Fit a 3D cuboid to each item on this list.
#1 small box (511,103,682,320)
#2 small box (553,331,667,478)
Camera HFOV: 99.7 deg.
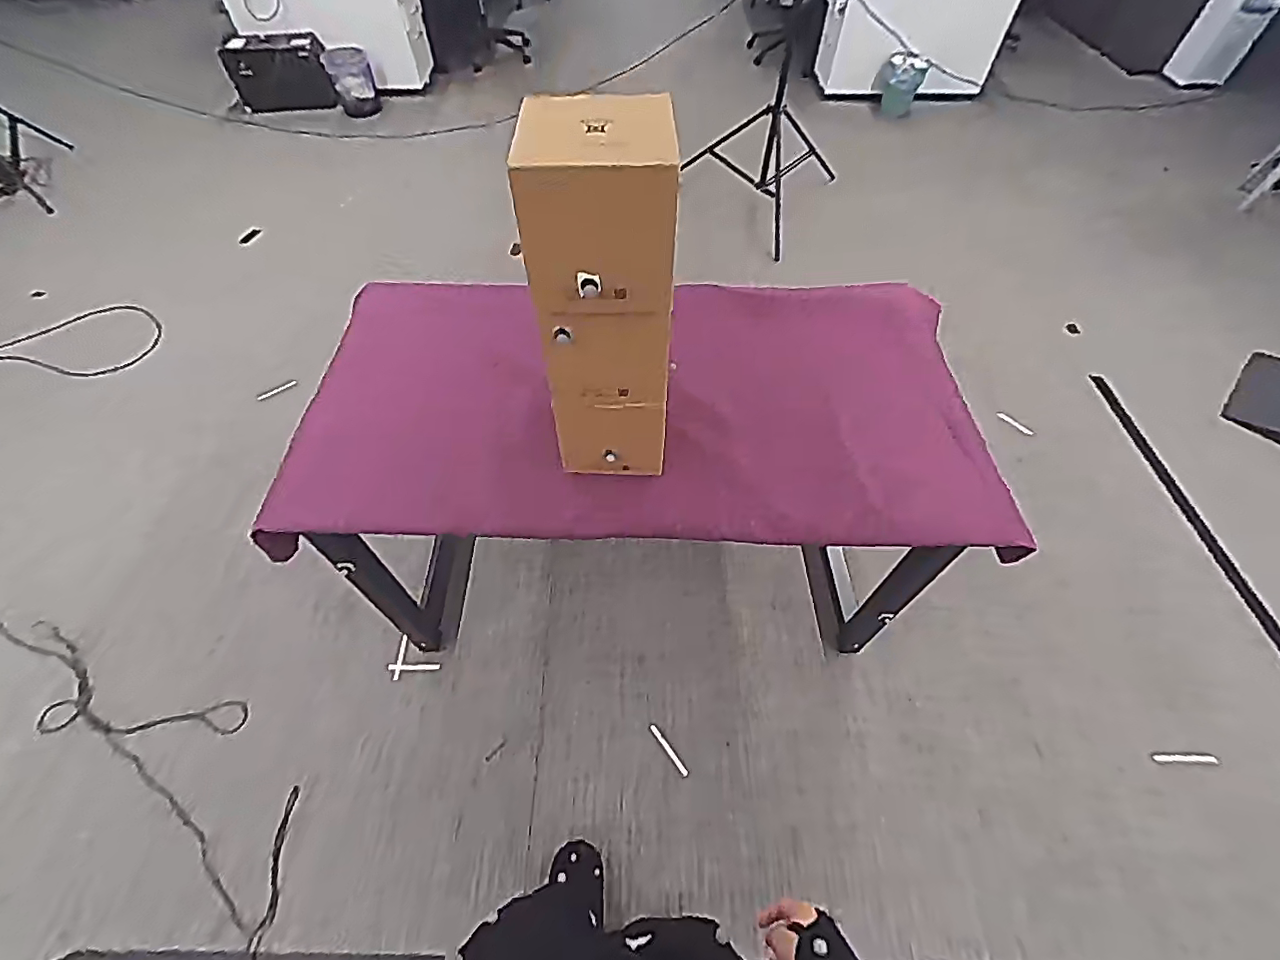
[{"bbox_3d":[-0.044,-0.307,0.625,0.168,0.176,0.179,-2,54,-1],"label":"small box"},{"bbox_3d":[-0.043,-0.124,0.895,0.168,0.176,0.179,2,54,1],"label":"small box"}]
